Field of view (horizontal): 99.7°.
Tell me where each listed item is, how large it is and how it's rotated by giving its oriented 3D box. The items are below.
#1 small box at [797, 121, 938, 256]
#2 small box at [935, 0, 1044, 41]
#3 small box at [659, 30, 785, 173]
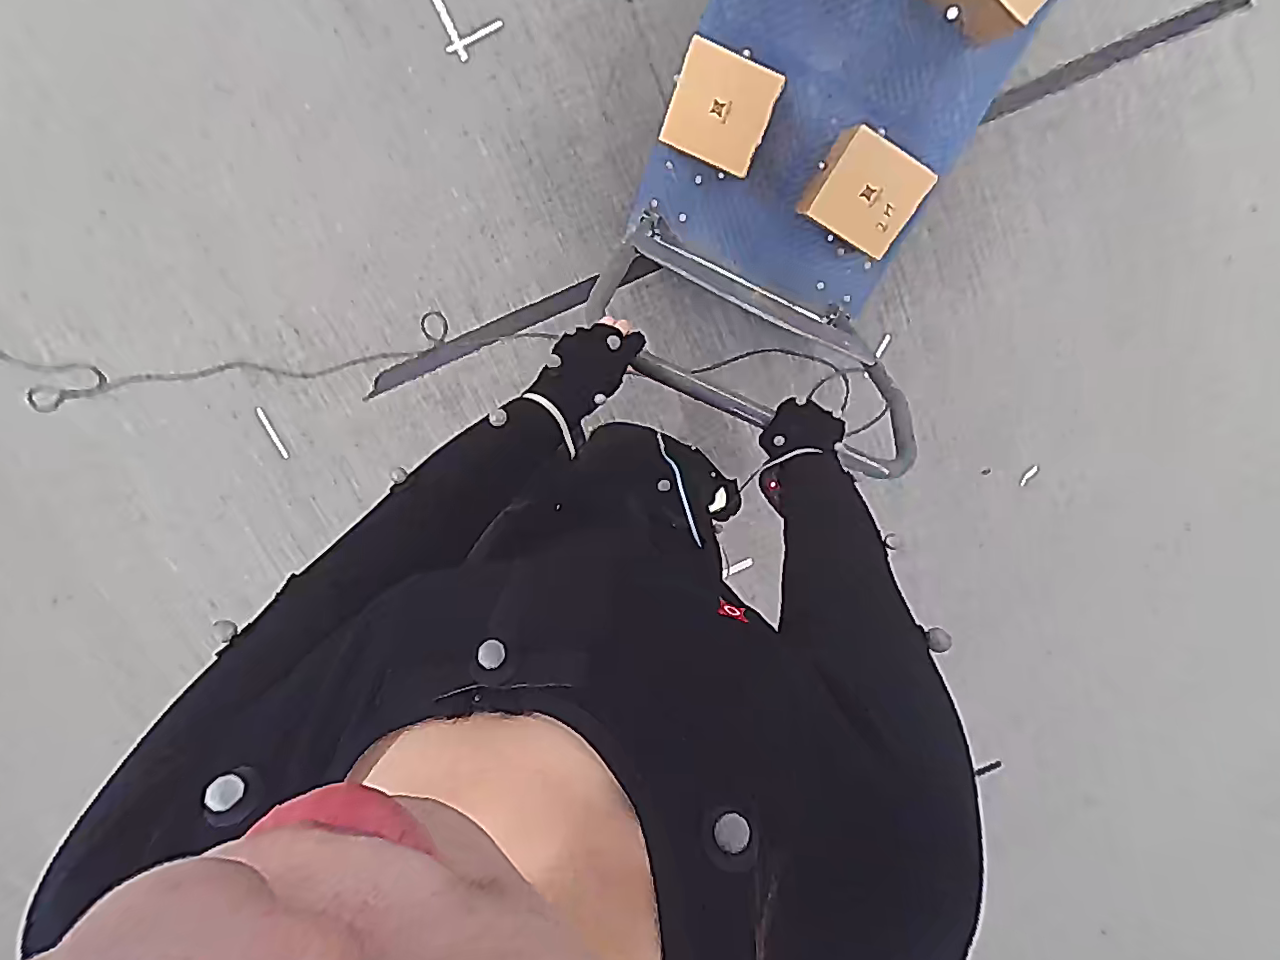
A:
[{"bbox_3d":[0.434,-0.570,1.069,0.179,0.176,0.168,28,119,-10],"label":"small box"},{"bbox_3d":[0.607,-0.875,0.883,0.168,0.176,0.179,33,118,-12],"label":"small box"},{"bbox_3d":[0.148,-0.702,1.027,0.179,0.176,0.168,20,119,-7],"label":"small box"}]
